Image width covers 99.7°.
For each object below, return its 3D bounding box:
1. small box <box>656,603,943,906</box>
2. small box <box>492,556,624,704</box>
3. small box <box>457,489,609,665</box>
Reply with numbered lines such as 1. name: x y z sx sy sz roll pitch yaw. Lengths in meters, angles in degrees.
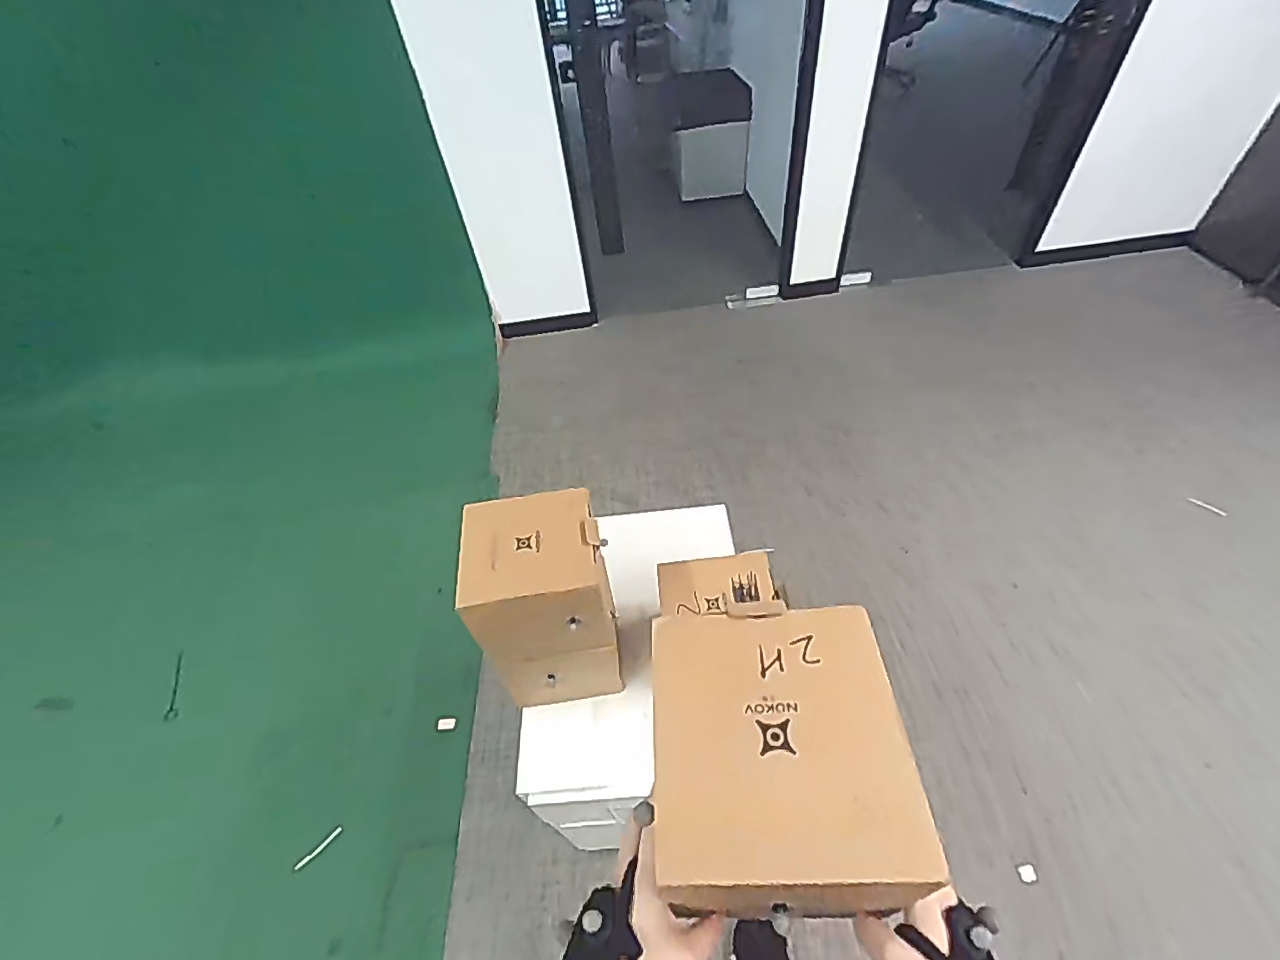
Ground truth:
1. small box: 0.101 0.218 0.424 0.168 0.176 0.179 -4 46 4
2. small box: -0.127 0.248 0.880 0.179 0.176 0.168 -8 49 -2
3. small box: -0.139 0.138 0.759 0.179 0.176 0.168 -10 48 -3
